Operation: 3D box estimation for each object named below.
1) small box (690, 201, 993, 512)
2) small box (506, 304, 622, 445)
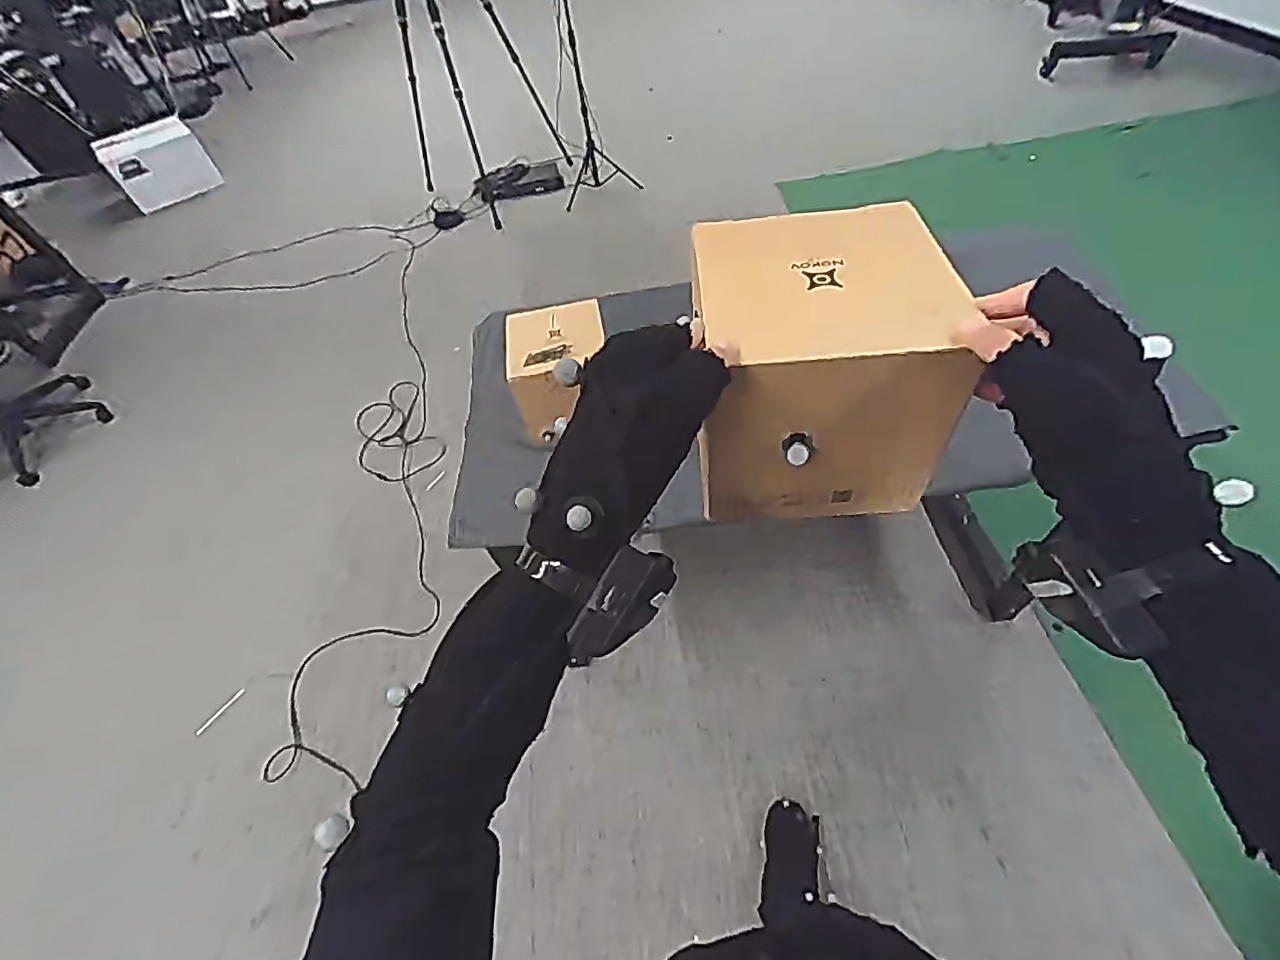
[{"bbox_3d":[0.128,-0.086,0.421,0.168,0.176,0.179,-4,50,5],"label":"small box"},{"bbox_3d":[-0.132,-0.178,0.957,0.168,0.176,0.179,-11,51,-1],"label":"small box"}]
